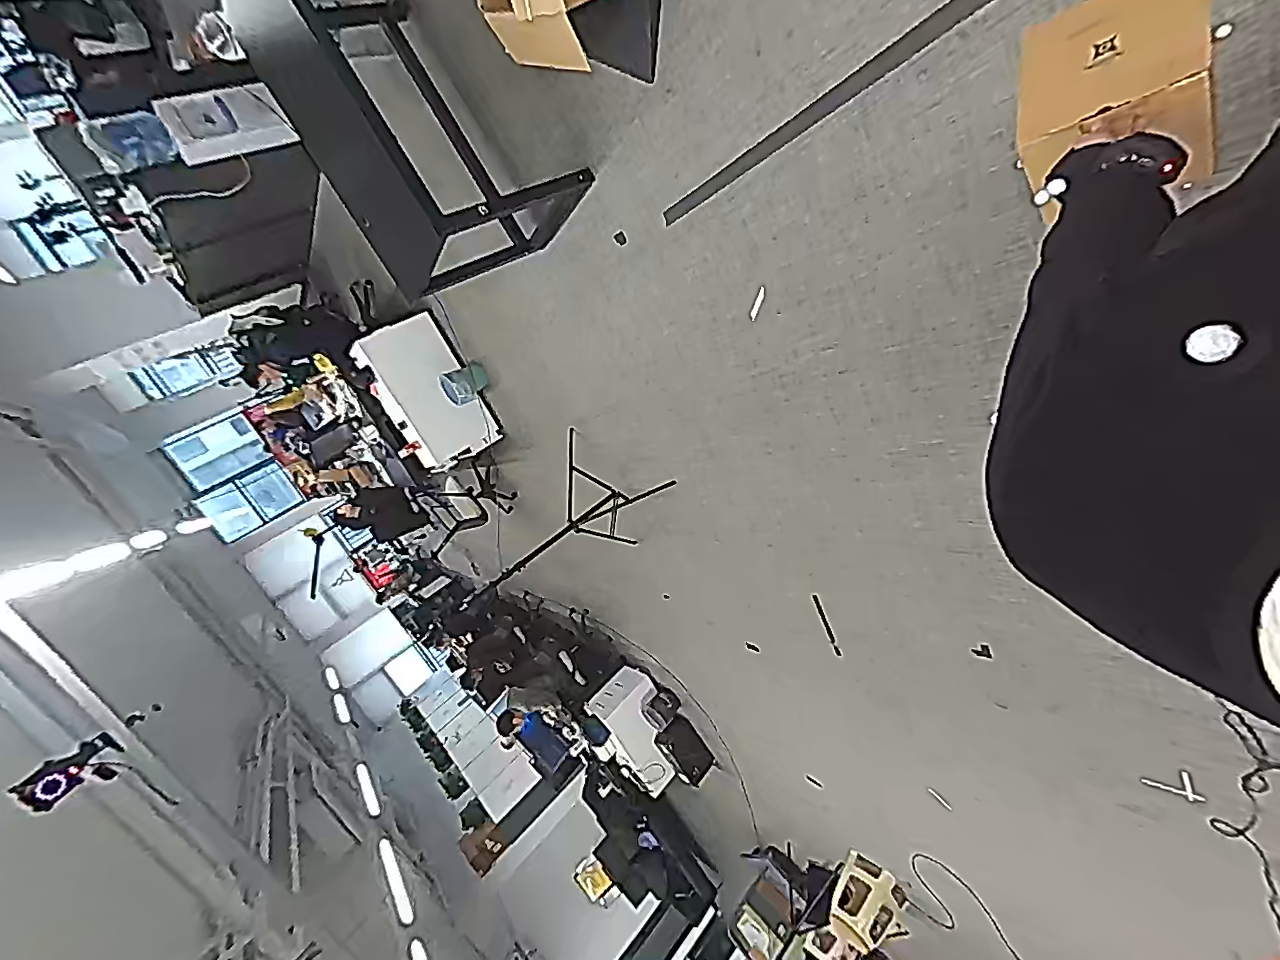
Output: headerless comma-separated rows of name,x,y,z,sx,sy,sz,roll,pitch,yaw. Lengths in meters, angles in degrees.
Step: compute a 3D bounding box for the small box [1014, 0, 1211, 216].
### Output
small box,0.588,-0.462,0.671,0.176,0.179,0.168,23,164,-41
